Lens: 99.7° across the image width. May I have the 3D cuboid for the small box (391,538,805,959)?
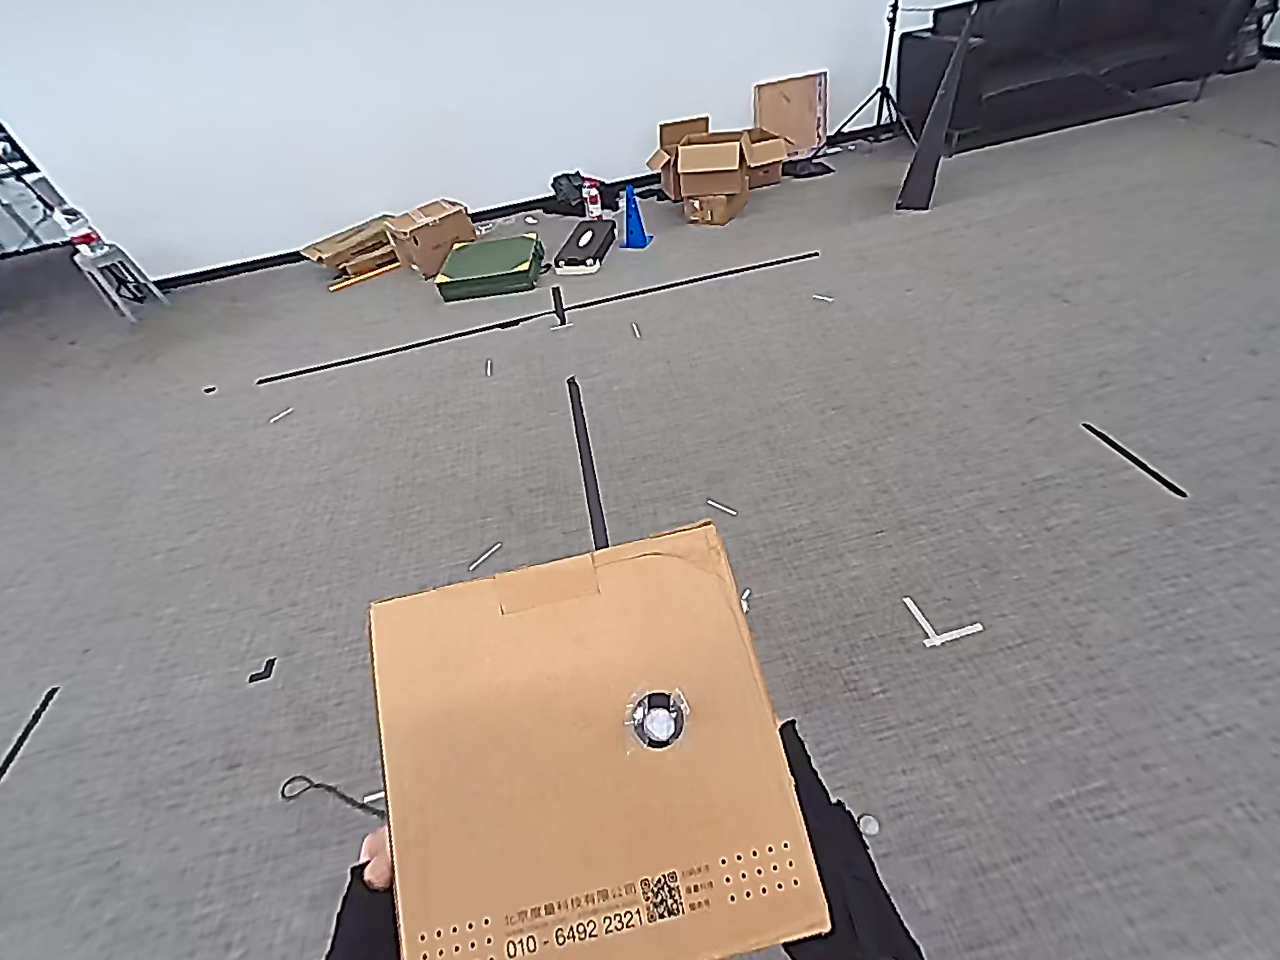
[{"bbox_3d":[-0.018,0.146,0.321,0.168,0.179,0.176,-13,75,0],"label":"small box"}]
